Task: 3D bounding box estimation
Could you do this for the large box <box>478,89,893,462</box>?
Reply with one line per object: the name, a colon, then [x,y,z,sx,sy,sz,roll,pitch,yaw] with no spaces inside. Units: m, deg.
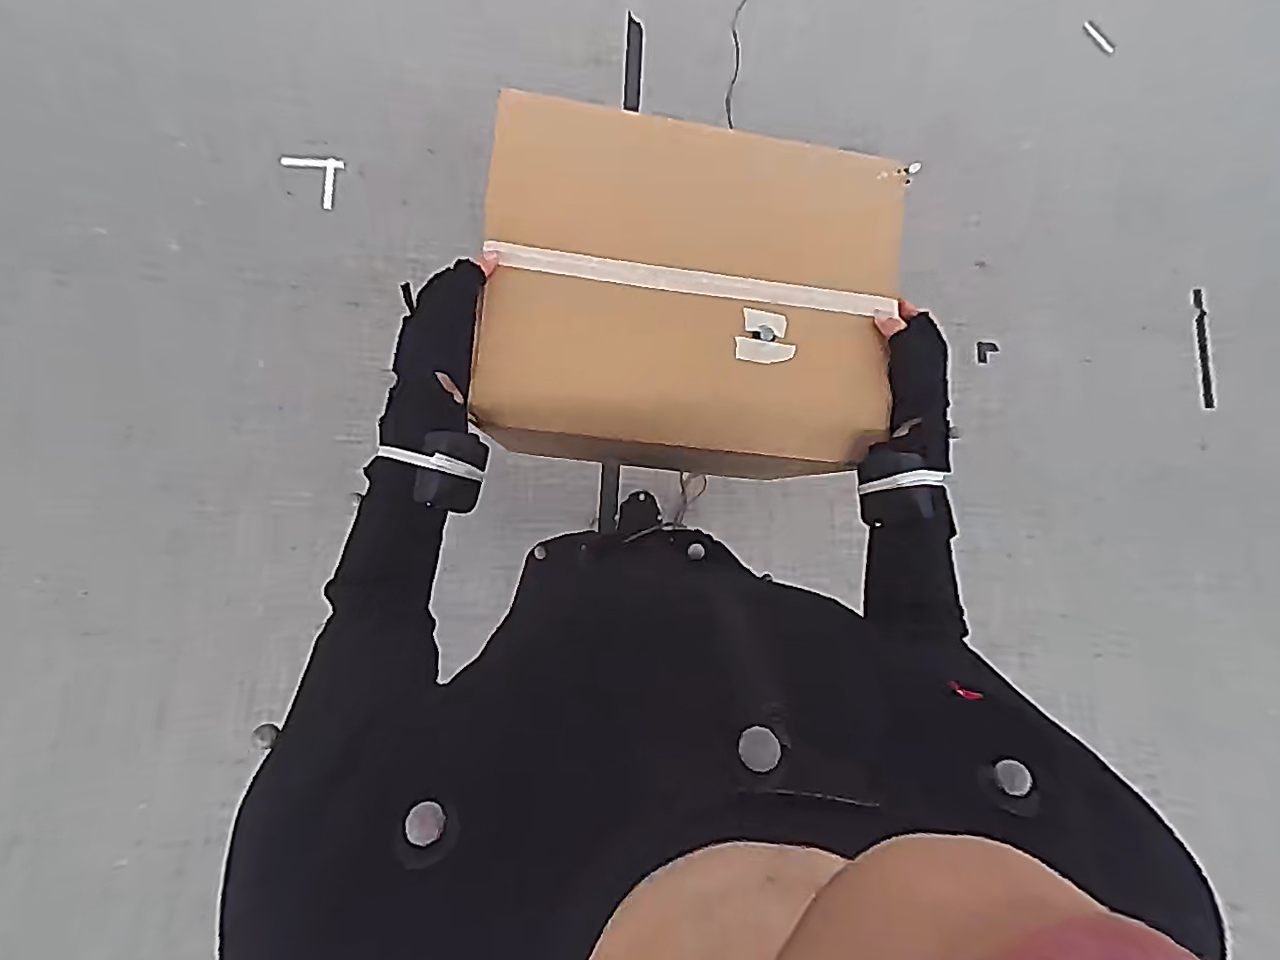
large box: [0.034,-0.199,0.677,0.408,0.320,0.320,6,89,-8]
